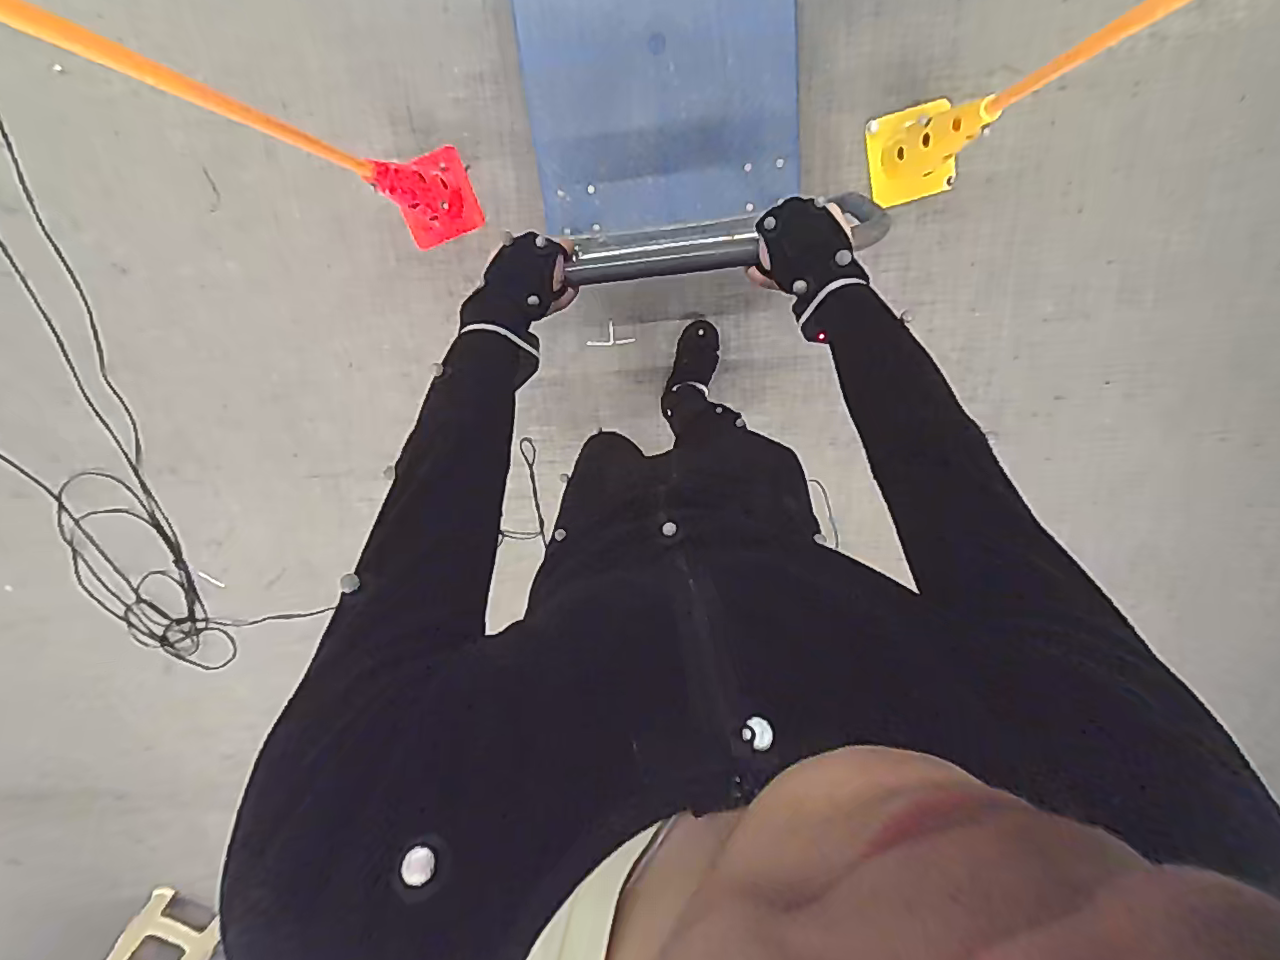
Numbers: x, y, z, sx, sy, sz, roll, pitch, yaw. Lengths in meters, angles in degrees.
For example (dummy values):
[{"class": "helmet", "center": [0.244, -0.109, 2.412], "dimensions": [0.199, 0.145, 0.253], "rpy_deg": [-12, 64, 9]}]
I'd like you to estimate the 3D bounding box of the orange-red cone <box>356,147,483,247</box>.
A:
[{"class": "orange-red cone", "center": [-0.529, -0.665, 1.224], "dimensions": [0.199, 0.360, 0.198], "rpy_deg": [-16, 107, 10]}]
